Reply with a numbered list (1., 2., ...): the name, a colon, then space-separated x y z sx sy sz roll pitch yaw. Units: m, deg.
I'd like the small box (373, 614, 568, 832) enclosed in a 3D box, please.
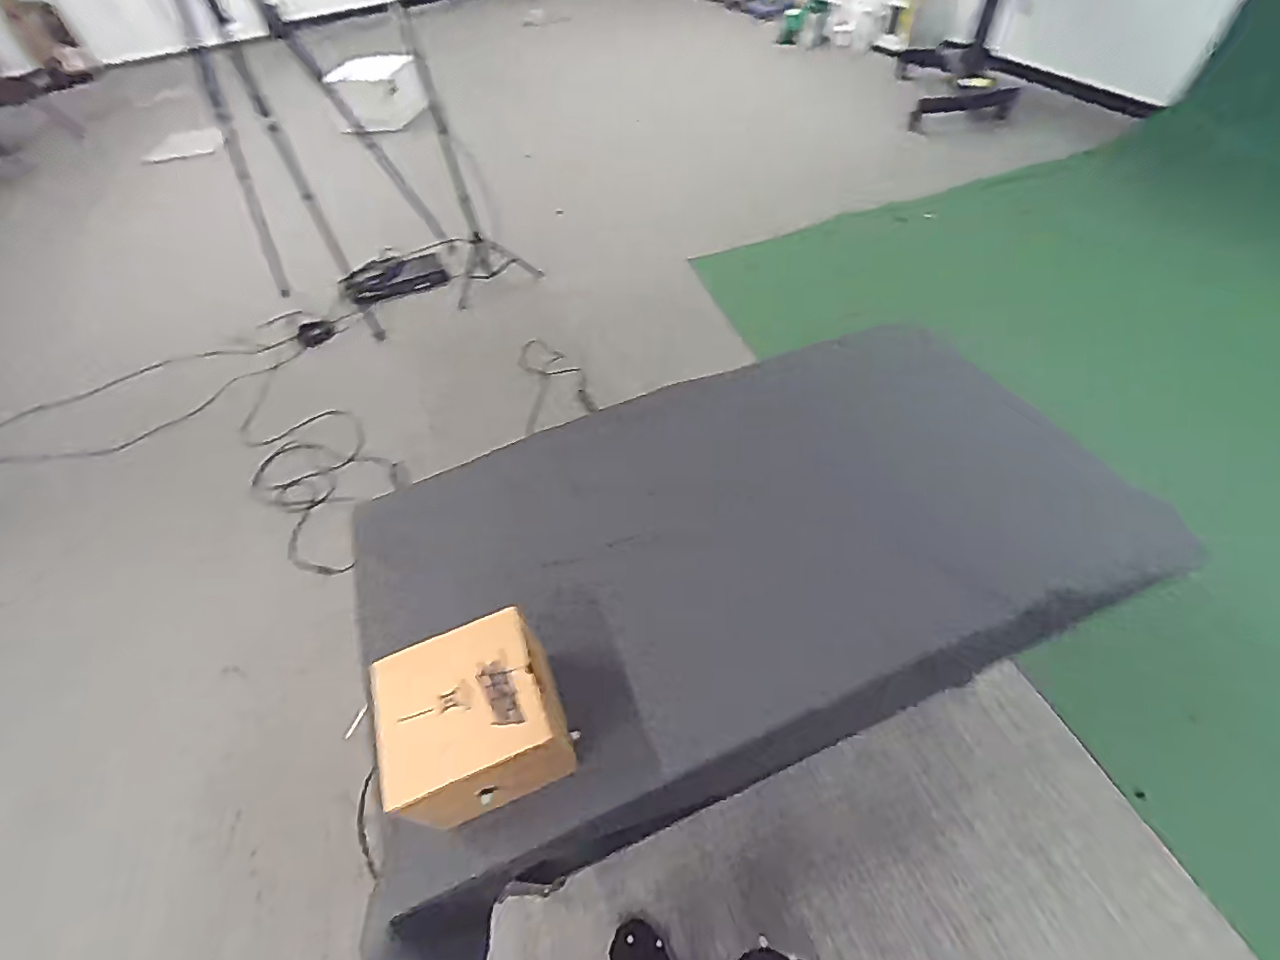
1. small box: -0.195 0.296 0.655 0.179 0.176 0.168 -21 52 -10
